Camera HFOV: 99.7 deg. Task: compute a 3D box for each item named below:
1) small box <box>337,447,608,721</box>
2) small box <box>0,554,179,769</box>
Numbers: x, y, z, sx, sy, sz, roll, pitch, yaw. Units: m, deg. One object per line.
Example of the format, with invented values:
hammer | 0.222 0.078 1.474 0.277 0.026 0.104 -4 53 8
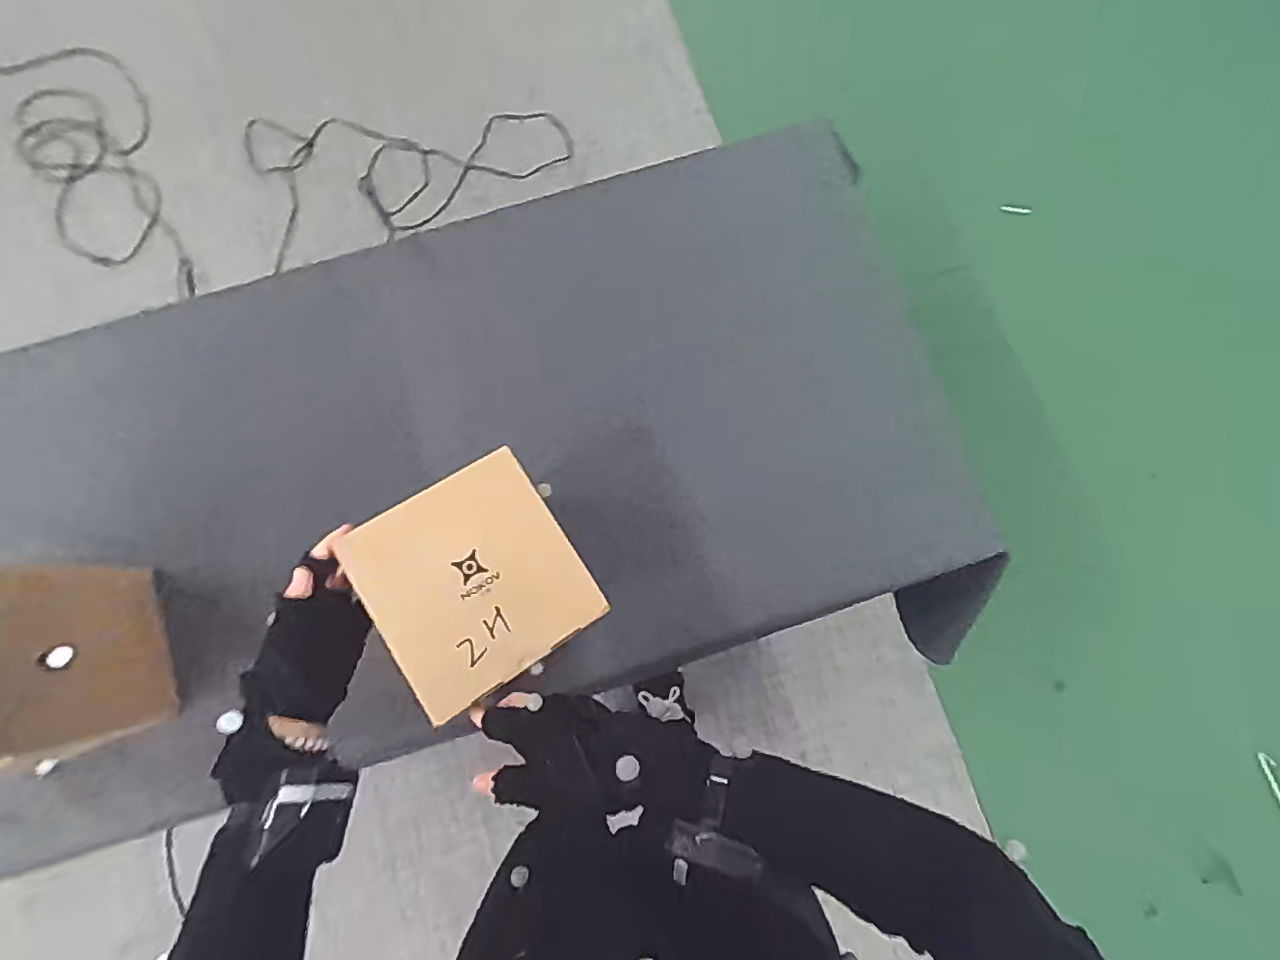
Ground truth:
small box | -0.150 0.098 0.529 0.168 0.176 0.179 -32 84 -13
small box | -0.618 0.186 0.538 0.168 0.176 0.179 -20 81 -3
